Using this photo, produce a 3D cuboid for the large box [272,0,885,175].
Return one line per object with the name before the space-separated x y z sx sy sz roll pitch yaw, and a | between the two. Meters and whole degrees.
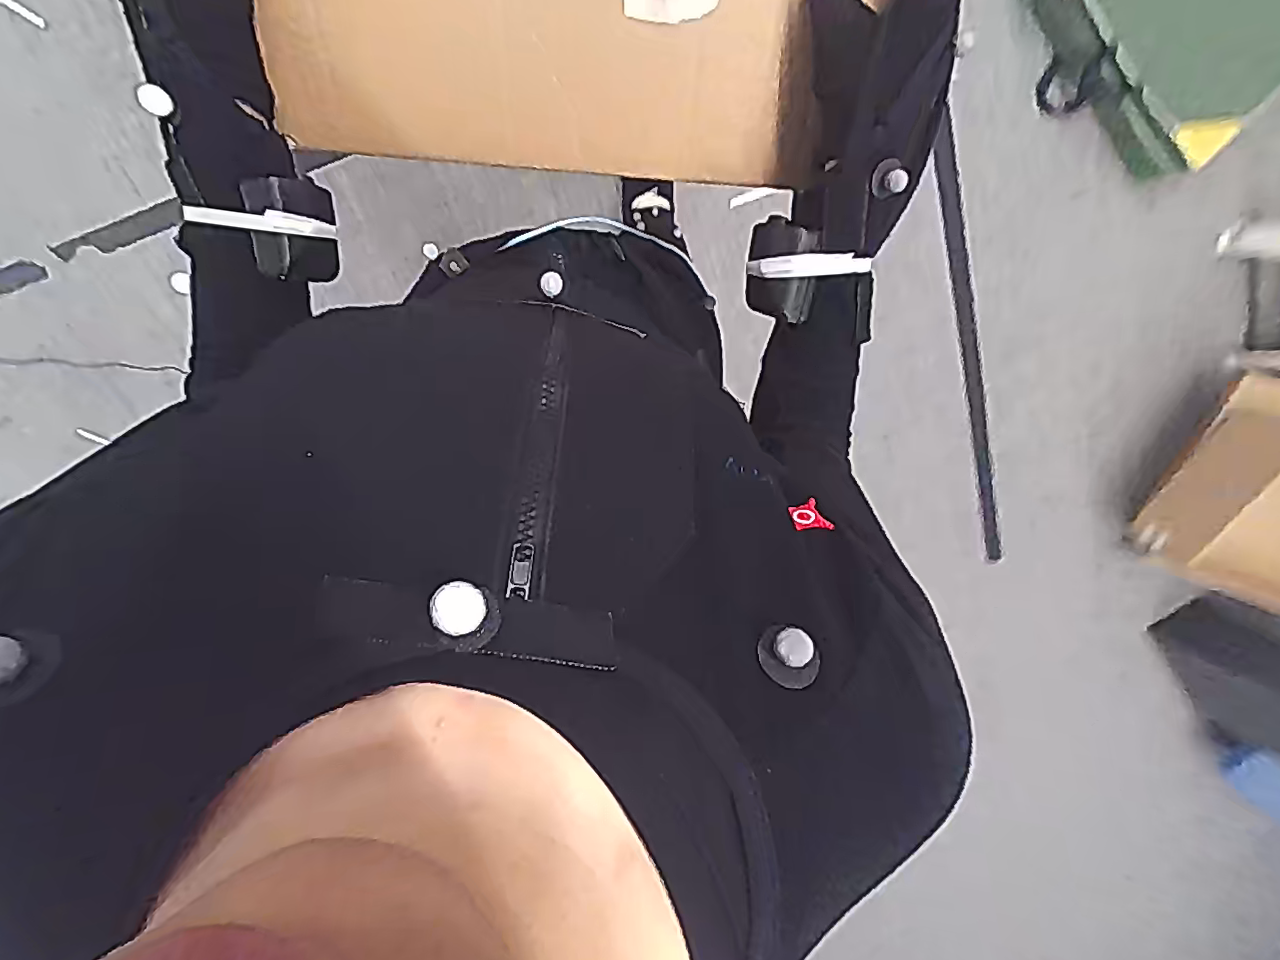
large box | -0.036 -0.452 0.423 0.408 0.320 0.320 4 131 -1
